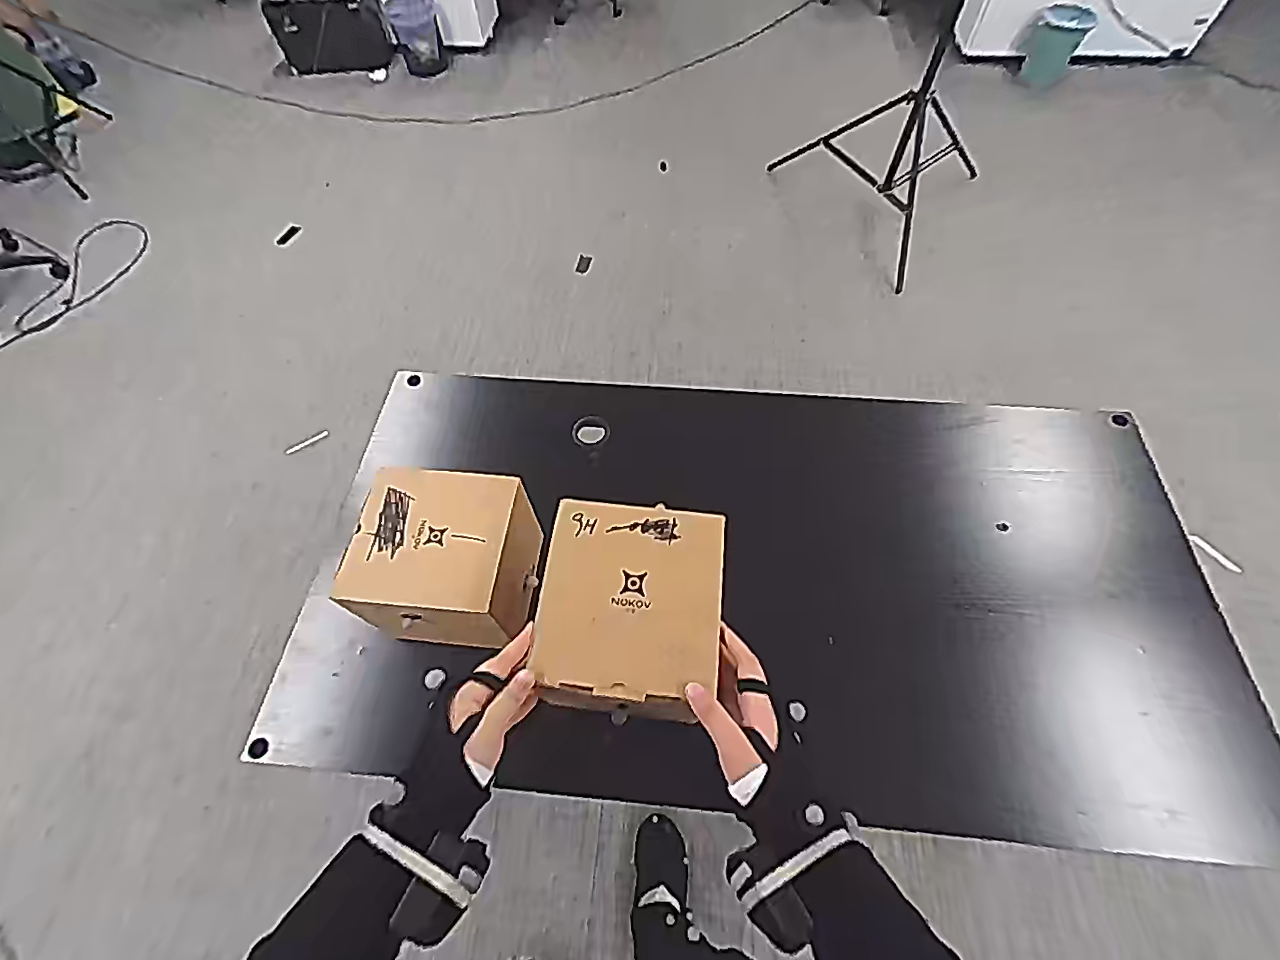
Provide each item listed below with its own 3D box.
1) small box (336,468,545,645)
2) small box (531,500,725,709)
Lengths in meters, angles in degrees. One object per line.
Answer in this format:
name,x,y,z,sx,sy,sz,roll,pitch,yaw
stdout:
small box,-0.230,0.102,0.678,0.179,0.176,0.168,5,61,3
small box,-0.004,0.140,0.575,0.168,0.176,0.179,6,64,3
